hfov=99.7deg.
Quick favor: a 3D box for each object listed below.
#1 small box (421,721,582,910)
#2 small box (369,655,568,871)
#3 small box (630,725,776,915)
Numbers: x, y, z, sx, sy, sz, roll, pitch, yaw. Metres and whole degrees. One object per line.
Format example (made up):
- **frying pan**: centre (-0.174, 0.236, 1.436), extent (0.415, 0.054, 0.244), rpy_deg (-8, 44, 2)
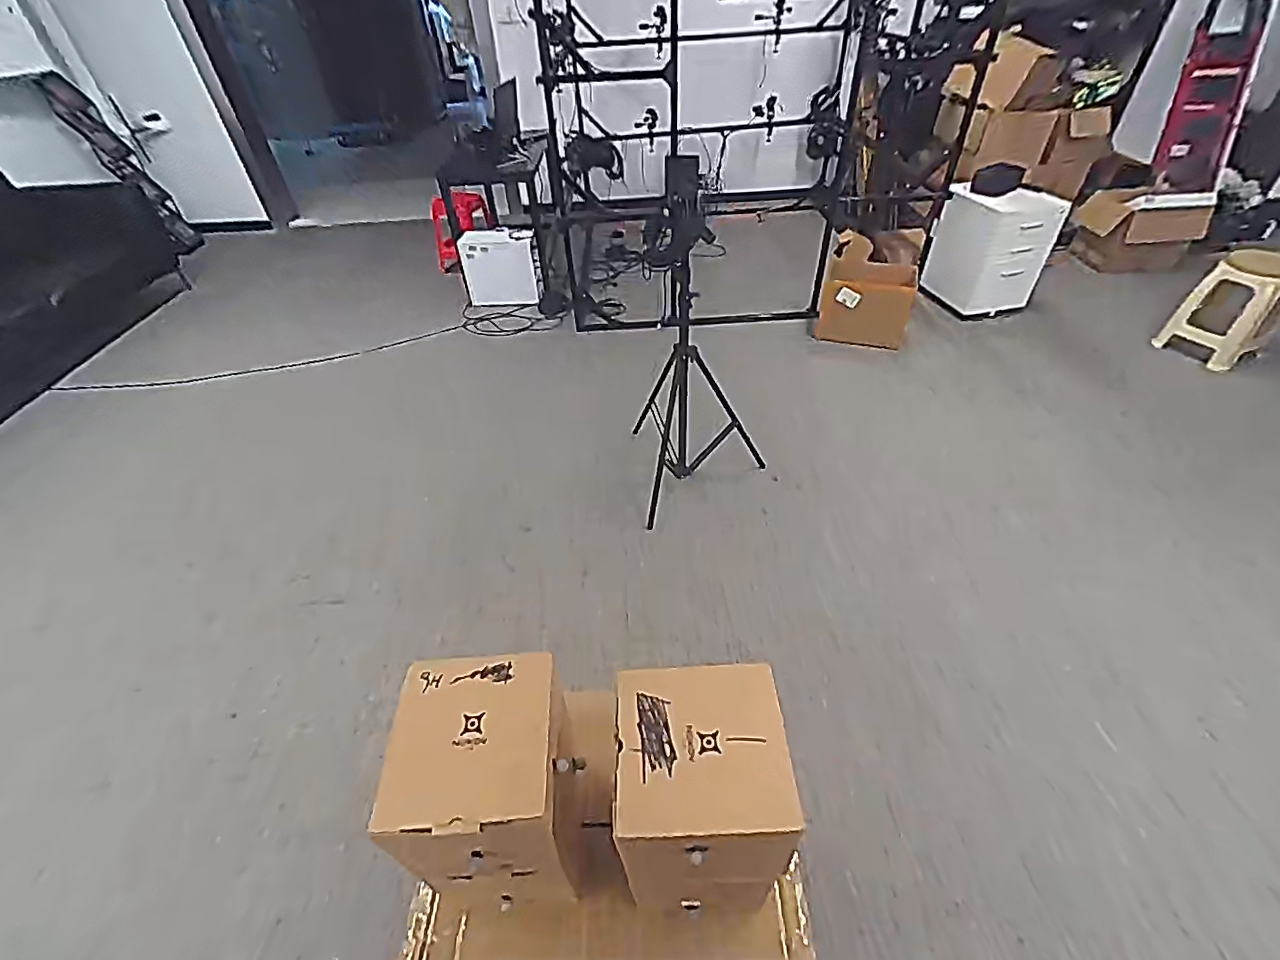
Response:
- **small box**: centre (-0.169, 0.449, 0.727), extent (0.168, 0.176, 0.179), rpy_deg (-3, 42, -1)
- **small box**: centre (-0.175, 0.326, 0.619), extent (0.168, 0.176, 0.179), rpy_deg (-4, 43, -2)
- **small box**: centre (0.074, 0.449, 0.716), extent (0.168, 0.176, 0.179), rpy_deg (-5, 43, 2)
